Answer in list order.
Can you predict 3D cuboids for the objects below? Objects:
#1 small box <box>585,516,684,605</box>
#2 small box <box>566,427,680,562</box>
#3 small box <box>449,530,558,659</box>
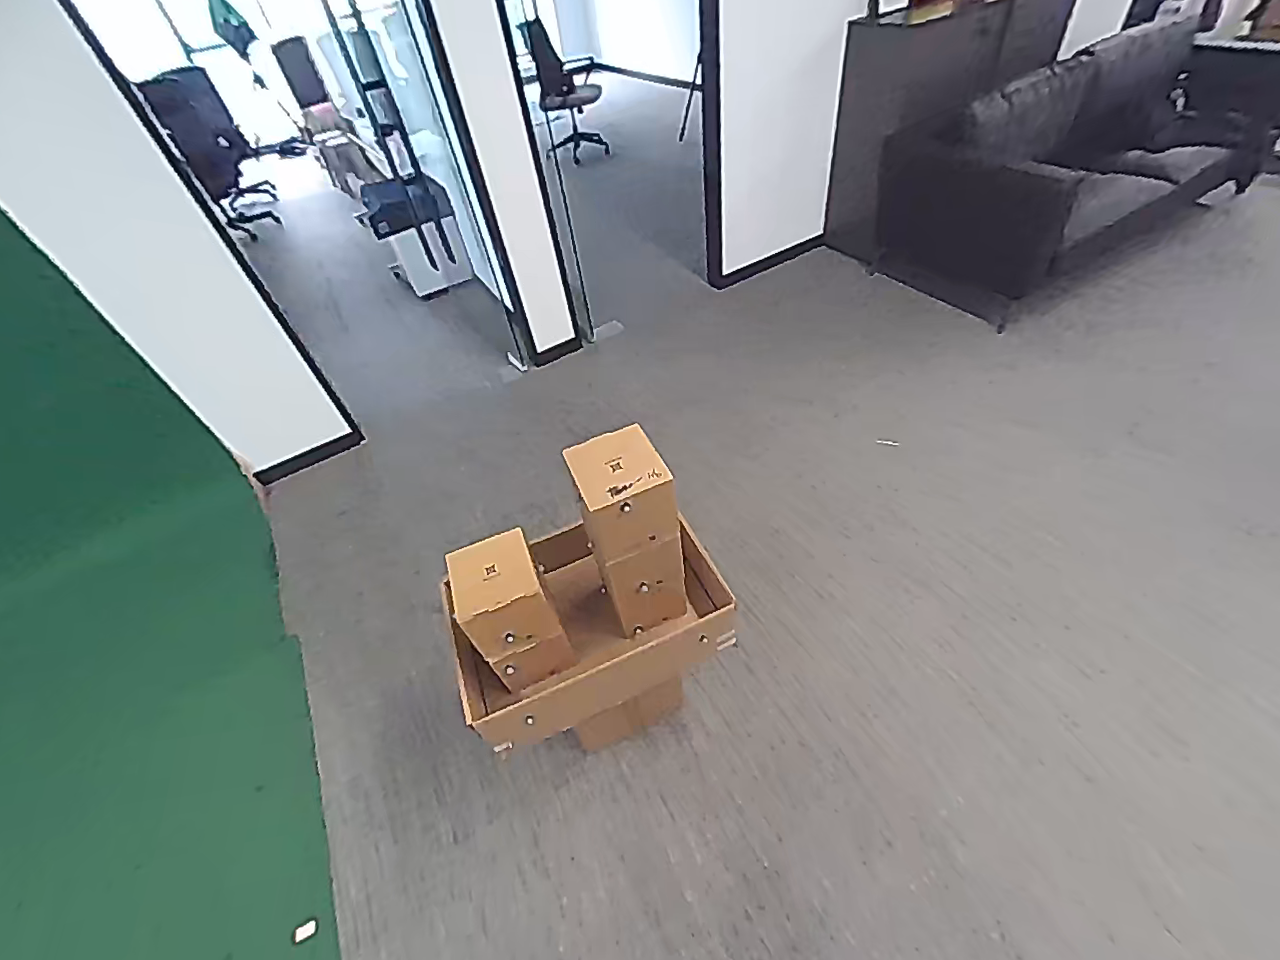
[{"bbox_3d":[-0.014,0.142,1.191,0.168,0.176,0.179,-21,48,-10],"label":"small box"},{"bbox_3d":[-0.031,0.030,1.073,0.168,0.176,0.179,-21,47,-10],"label":"small box"},{"bbox_3d":[-0.286,0.242,1.142,0.168,0.176,0.179,-20,47,-10],"label":"small box"}]
